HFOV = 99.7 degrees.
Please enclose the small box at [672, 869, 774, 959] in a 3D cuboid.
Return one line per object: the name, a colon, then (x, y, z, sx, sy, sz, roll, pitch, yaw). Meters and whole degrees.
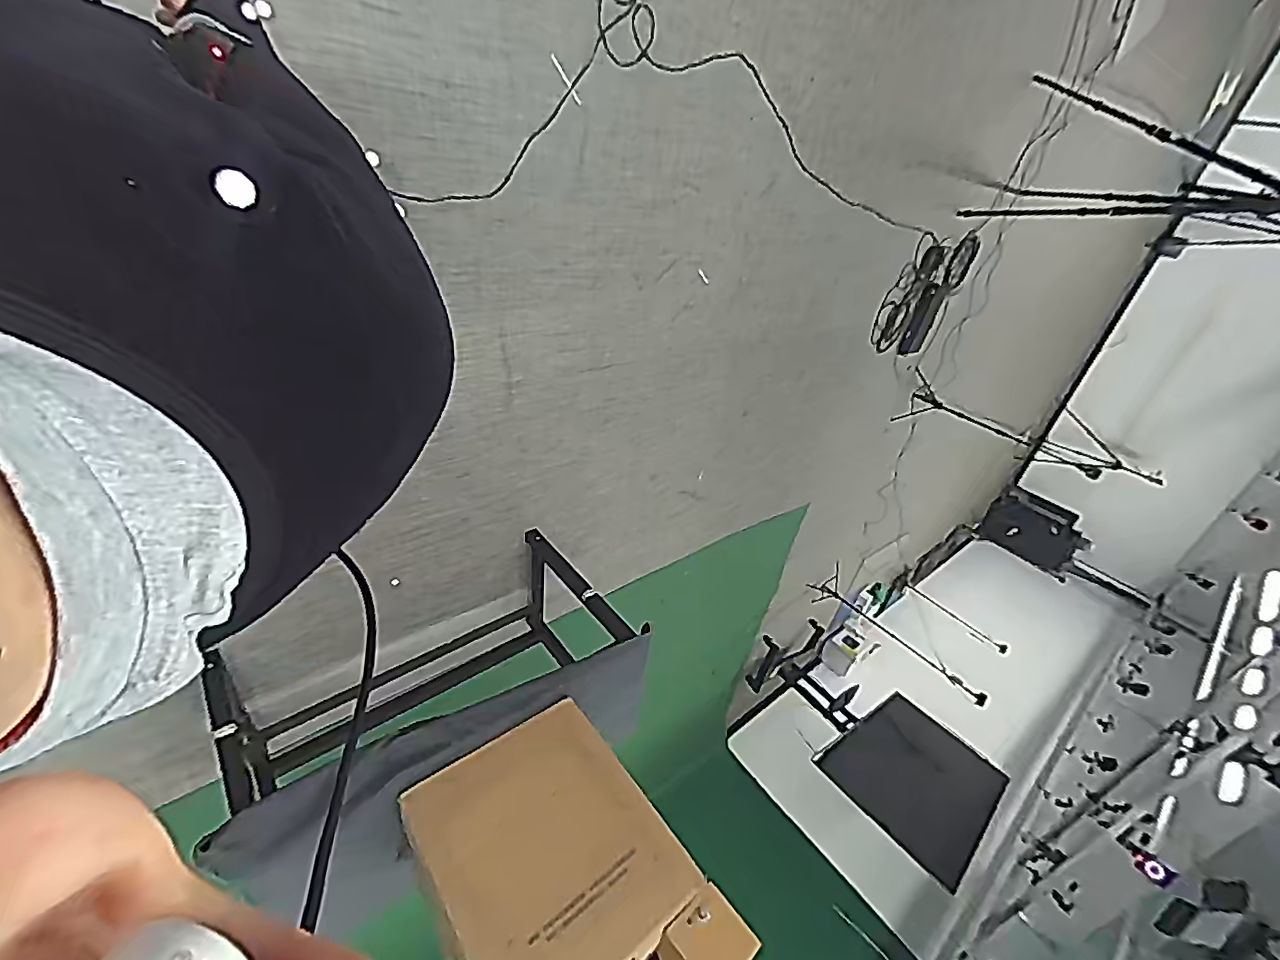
small box: (0.196, 1.111, 1.326, 0.168, 0.176, 0.179, -25, 134, -36)
